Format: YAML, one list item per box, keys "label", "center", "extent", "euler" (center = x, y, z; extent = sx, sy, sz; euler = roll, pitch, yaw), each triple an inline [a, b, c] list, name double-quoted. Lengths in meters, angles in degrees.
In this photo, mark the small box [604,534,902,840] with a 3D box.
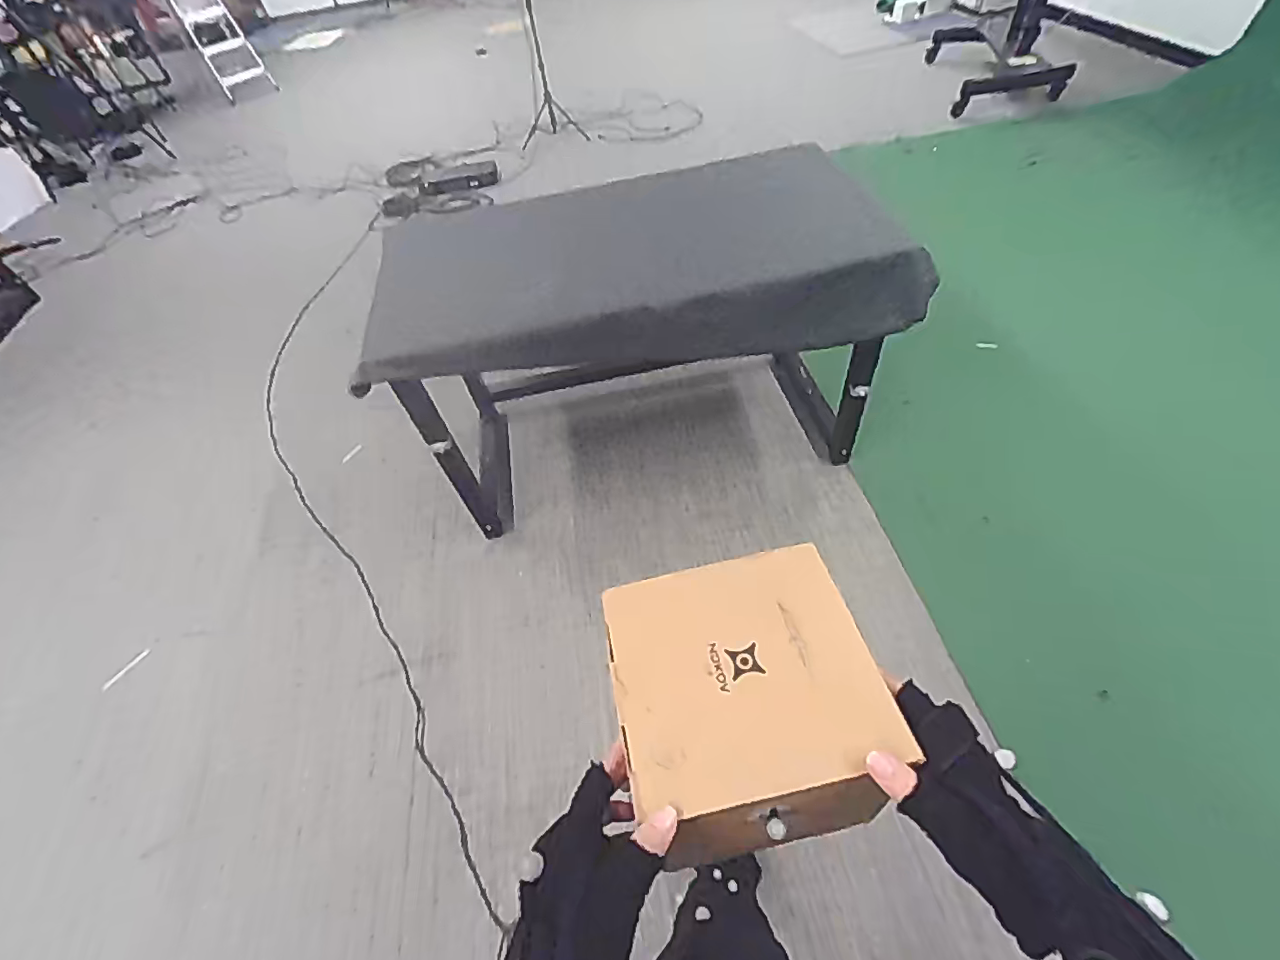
- label: "small box"
  center: [0.078, 0.174, 0.449]
  extent: [0.179, 0.176, 0.168]
  euler: [-12, 47, -4]
